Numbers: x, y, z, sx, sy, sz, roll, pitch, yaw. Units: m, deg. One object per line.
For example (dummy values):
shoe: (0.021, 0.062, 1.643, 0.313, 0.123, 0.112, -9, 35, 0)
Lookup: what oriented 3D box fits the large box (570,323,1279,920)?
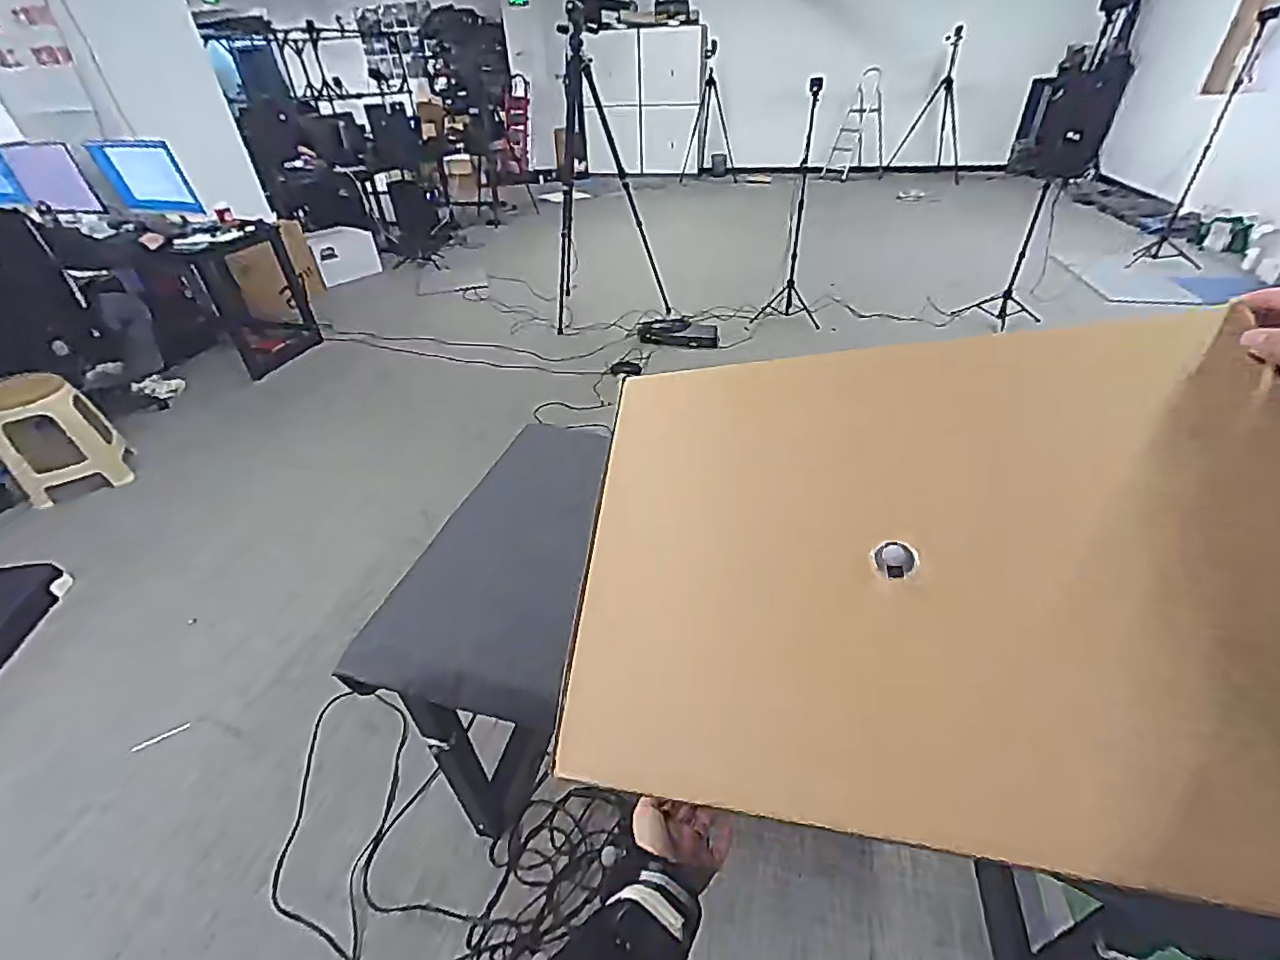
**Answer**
large box: (0.204, 0.115, 0.453, 0.408, 0.320, 0.320, -4, 61, 20)
